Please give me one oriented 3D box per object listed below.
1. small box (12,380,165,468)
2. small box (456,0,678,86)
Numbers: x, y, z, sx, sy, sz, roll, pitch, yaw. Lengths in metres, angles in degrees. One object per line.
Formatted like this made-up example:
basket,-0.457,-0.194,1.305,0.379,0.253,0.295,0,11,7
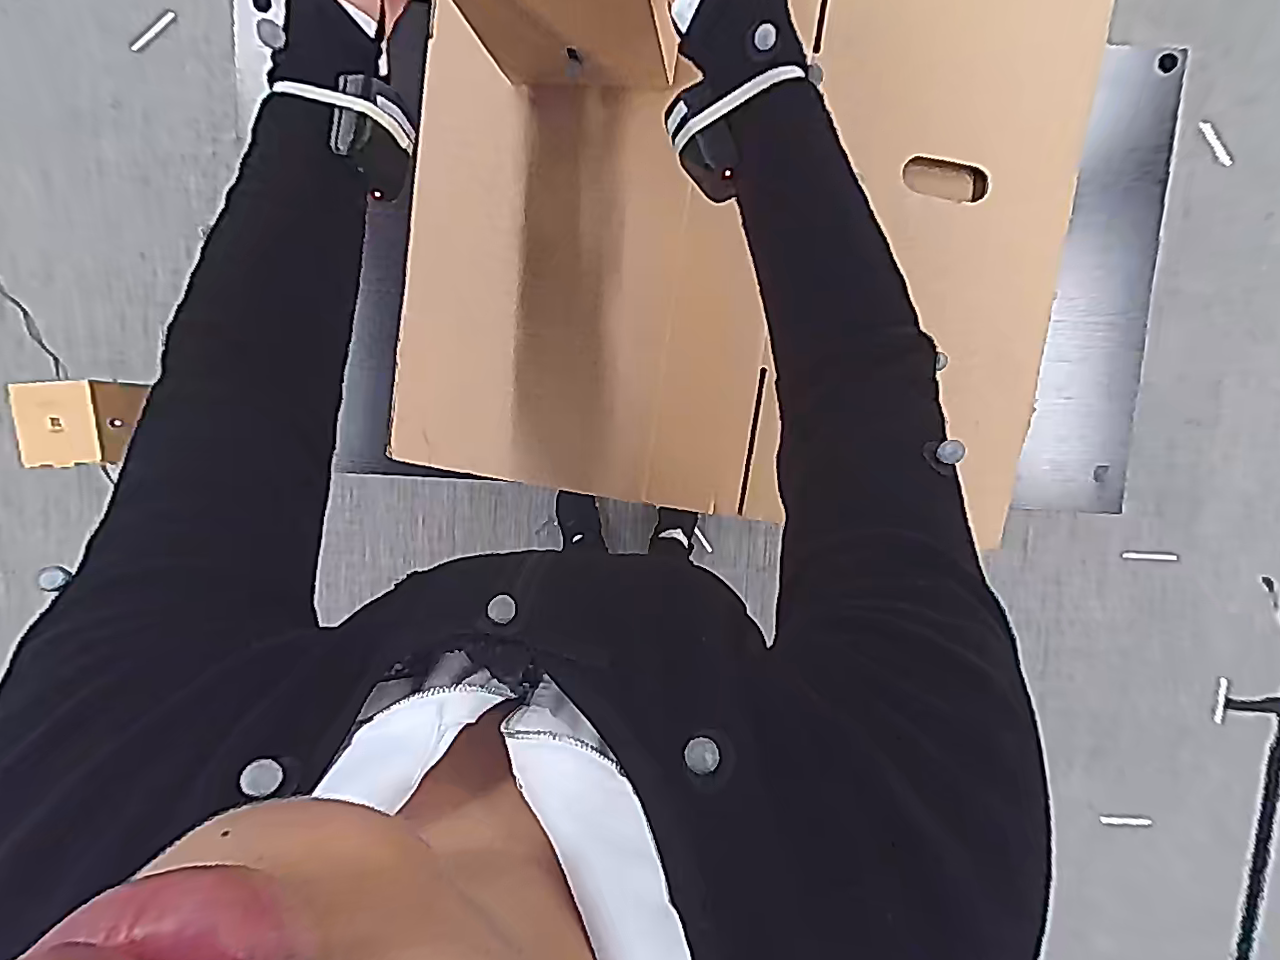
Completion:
small box,-1.210,-0.125,1.202,0.168,0.176,0.179,-4,95,-1
small box,-0.056,-0.471,0.456,0.179,0.176,0.168,10,95,11
